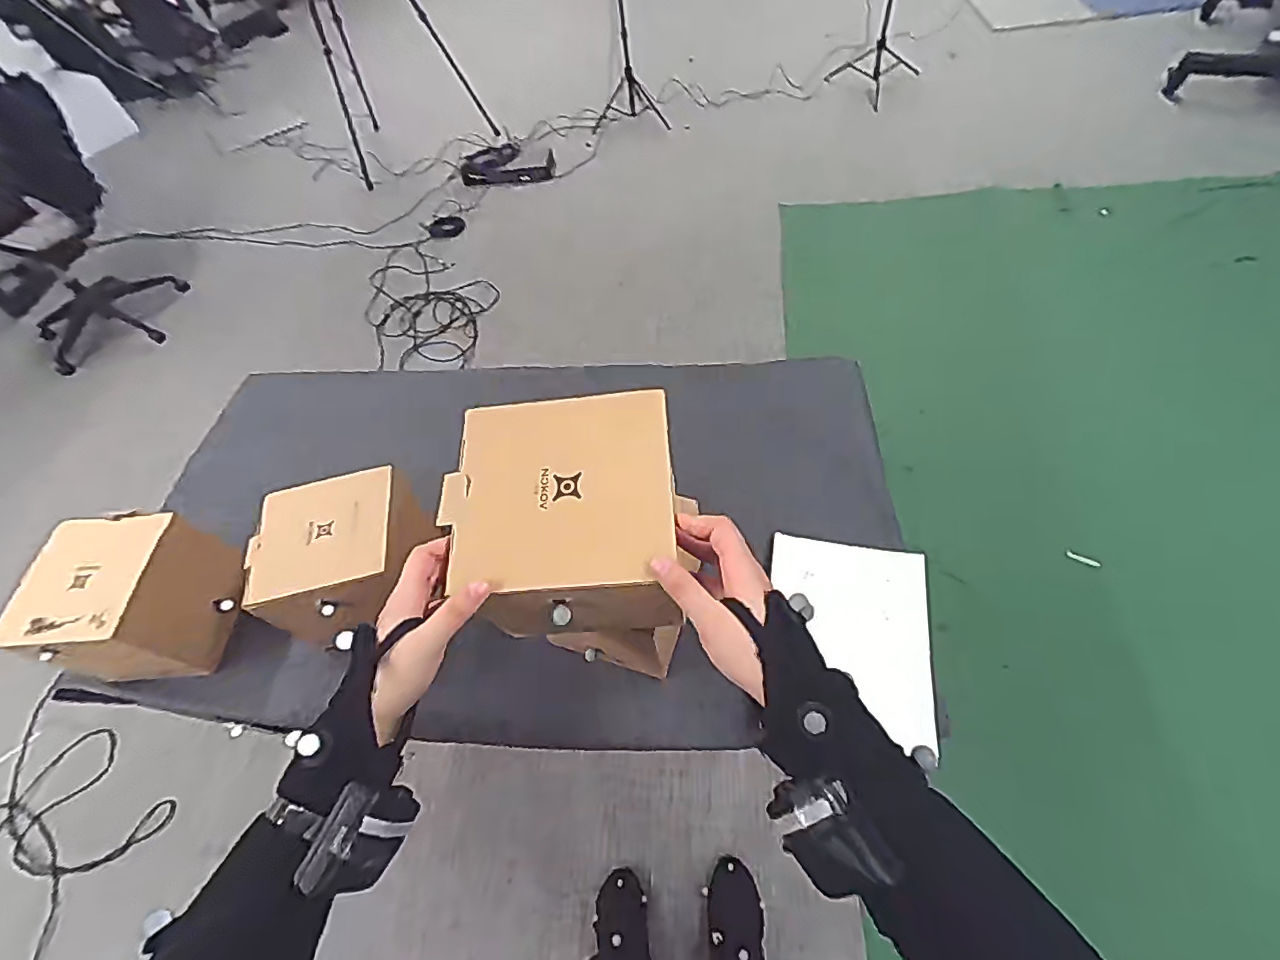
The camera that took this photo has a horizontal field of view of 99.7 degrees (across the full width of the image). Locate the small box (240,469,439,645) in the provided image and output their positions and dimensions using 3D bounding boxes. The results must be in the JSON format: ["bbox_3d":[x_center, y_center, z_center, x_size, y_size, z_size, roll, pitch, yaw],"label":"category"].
[{"bbox_3d":[-0.401,0.114,0.756,0.179,0.176,0.168,-14,56,-2],"label":"small box"}]

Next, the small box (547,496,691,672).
[{"bbox_3d":[-0.035,0.121,0.695,0.168,0.176,0.179,12,59,16],"label":"small box"}]

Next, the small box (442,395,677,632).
[{"bbox_3d":[-0.059,0.042,0.508,0.179,0.176,0.168,-6,64,6],"label":"small box"}]

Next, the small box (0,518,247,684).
[{"bbox_3d":[-0.699,0.173,0.758,0.168,0.176,0.179,-6,56,4],"label":"small box"}]
